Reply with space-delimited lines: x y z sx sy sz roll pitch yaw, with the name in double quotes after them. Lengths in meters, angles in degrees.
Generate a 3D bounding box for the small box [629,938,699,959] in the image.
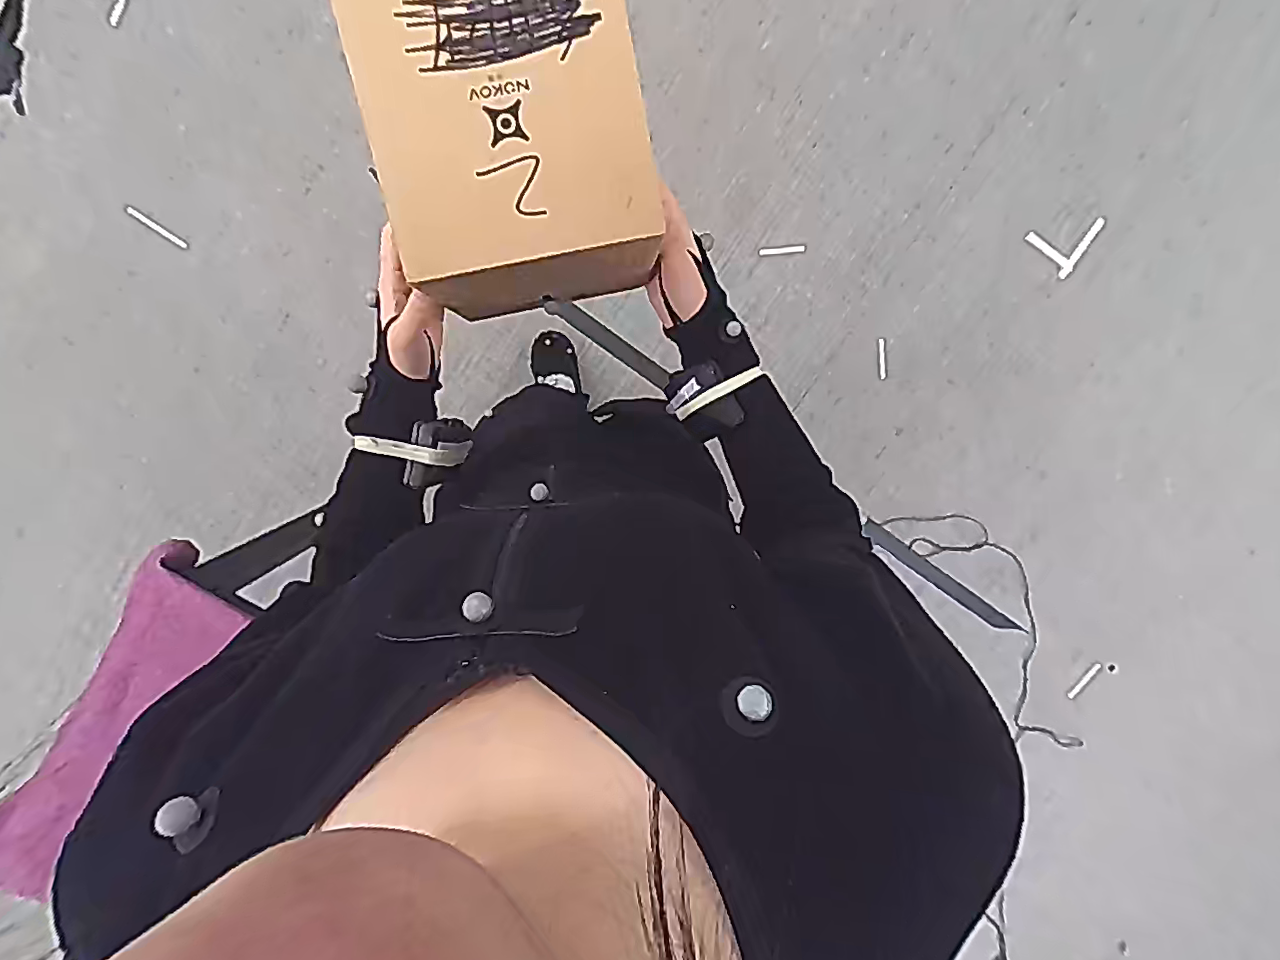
0.040 0.897 0.867 0.168 0.176 0.179 30 100 -8 "small box"
